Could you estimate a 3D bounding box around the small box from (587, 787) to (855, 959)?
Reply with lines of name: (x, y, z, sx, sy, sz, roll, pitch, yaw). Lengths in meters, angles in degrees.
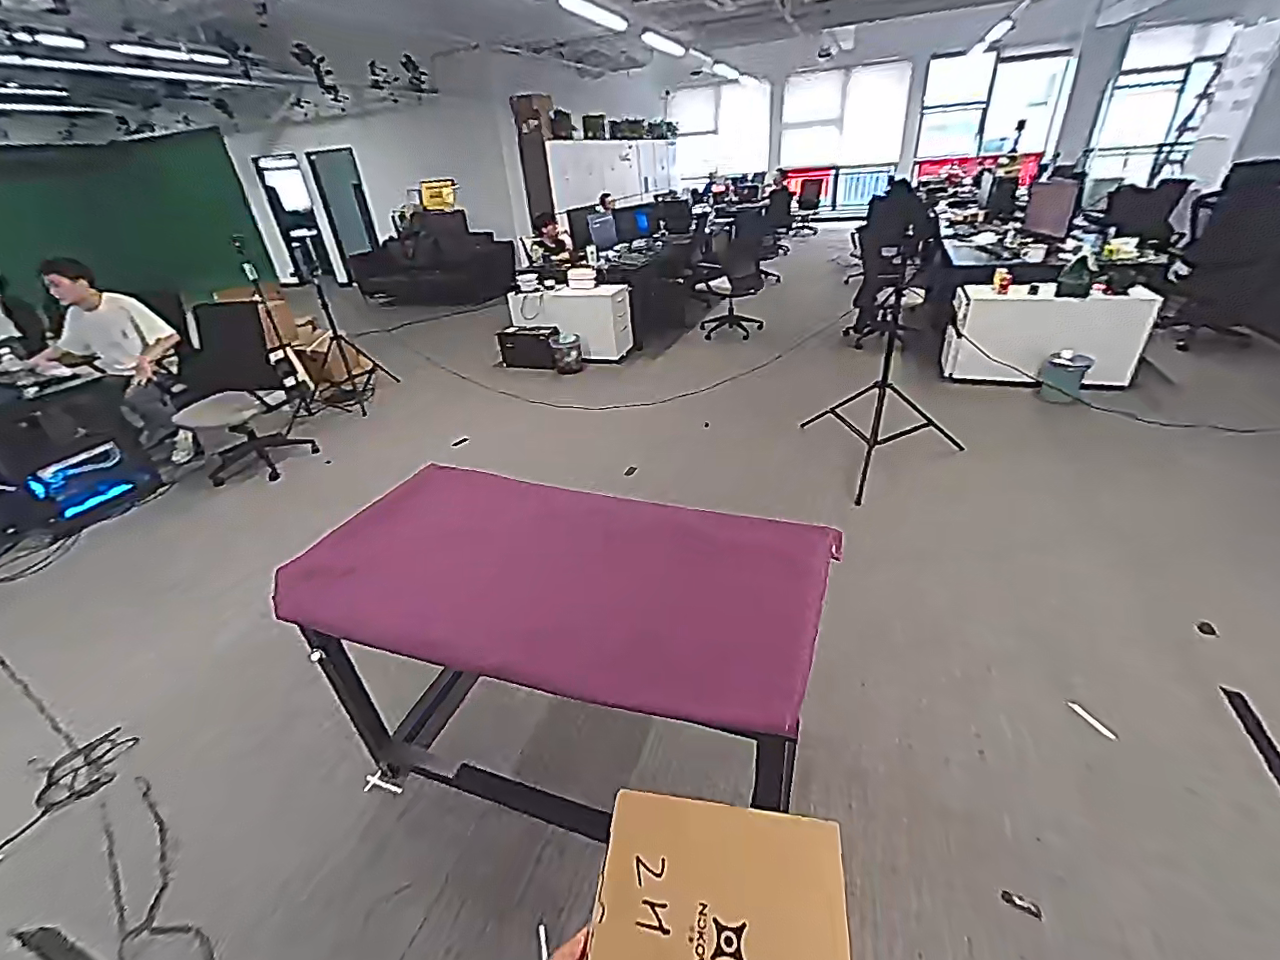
small box: (0.062, 0.366, 0.415, 0.179, 0.176, 0.168, 1, 41, 12)
